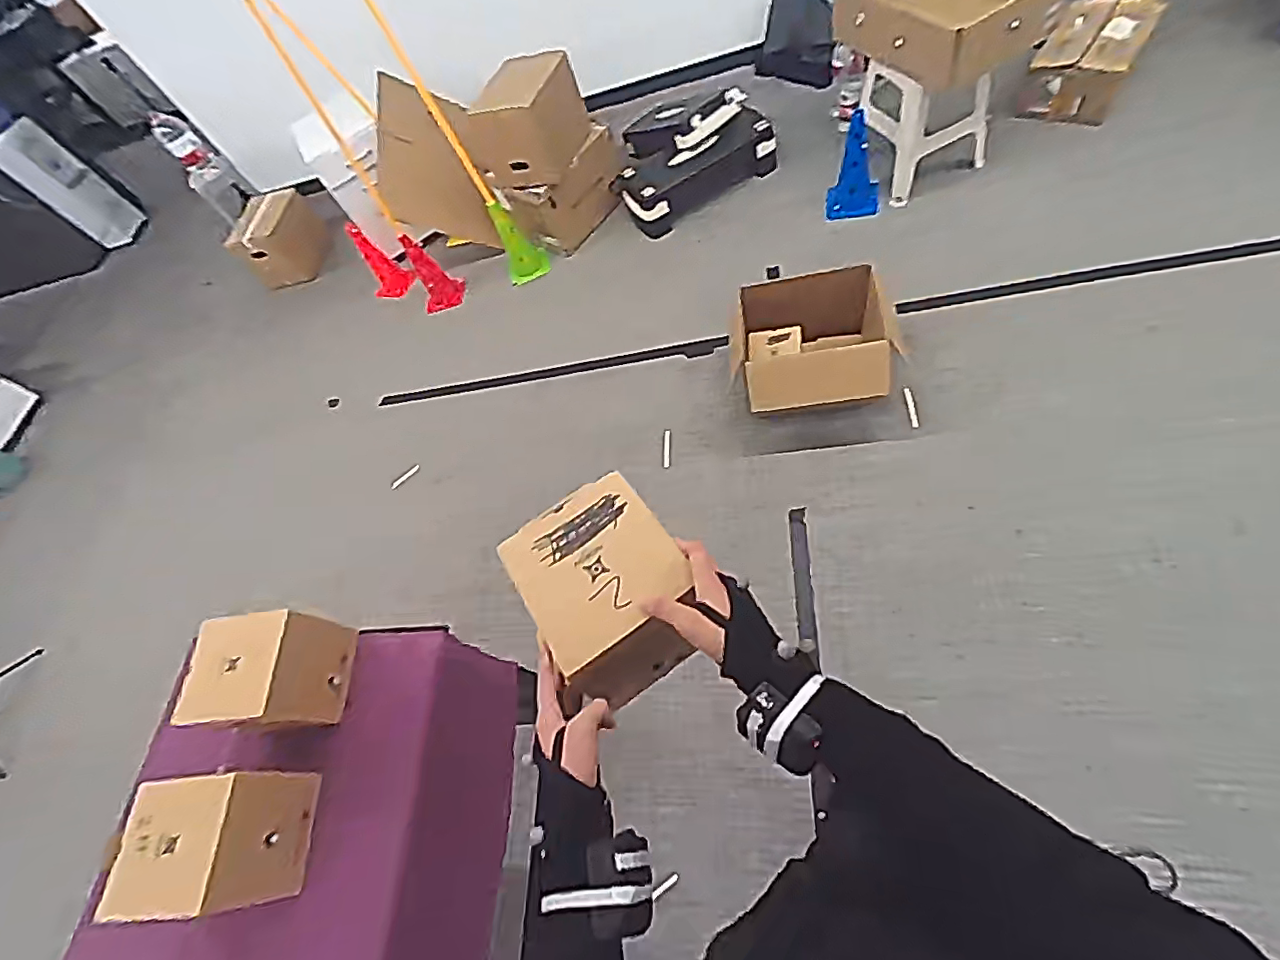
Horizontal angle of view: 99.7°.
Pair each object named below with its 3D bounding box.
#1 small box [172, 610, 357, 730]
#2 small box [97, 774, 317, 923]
[{"bbox_3d":[-0.630,0.333,0.929,0.179,0.176,0.168,-10,62,13],"label":"small box"},{"bbox_3d":[-0.632,0.544,0.816,0.179,0.176,0.168,-12,60,12],"label":"small box"}]
